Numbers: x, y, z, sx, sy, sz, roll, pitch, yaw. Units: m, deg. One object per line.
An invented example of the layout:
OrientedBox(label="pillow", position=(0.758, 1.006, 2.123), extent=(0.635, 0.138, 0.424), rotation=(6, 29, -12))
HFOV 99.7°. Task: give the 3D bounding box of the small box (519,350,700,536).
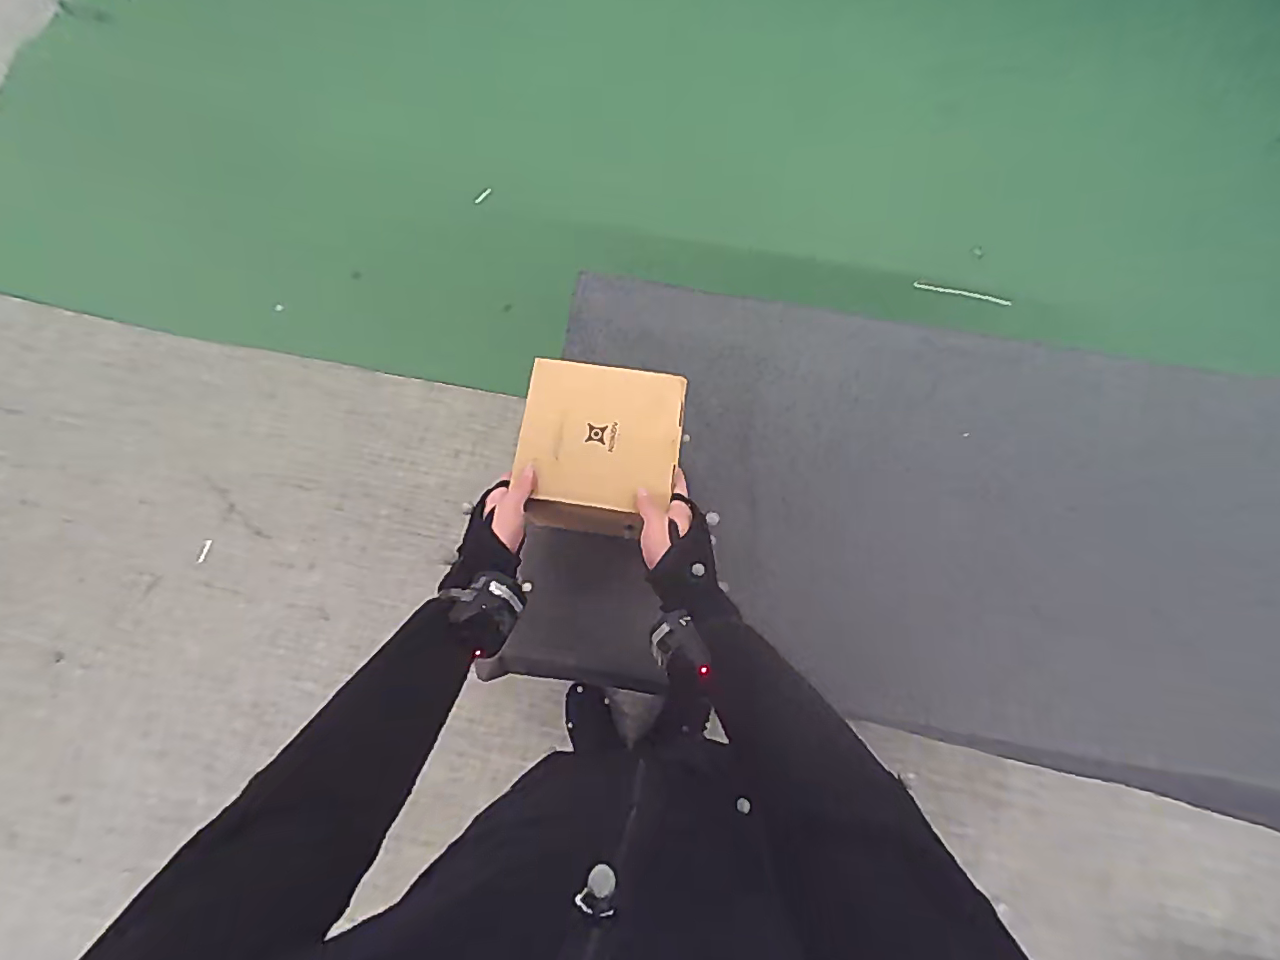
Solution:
OrientedBox(label="small box", position=(-0.031, -0.033, 0.653), extent=(0.179, 0.176, 0.168), rotation=(7, 72, 1))
